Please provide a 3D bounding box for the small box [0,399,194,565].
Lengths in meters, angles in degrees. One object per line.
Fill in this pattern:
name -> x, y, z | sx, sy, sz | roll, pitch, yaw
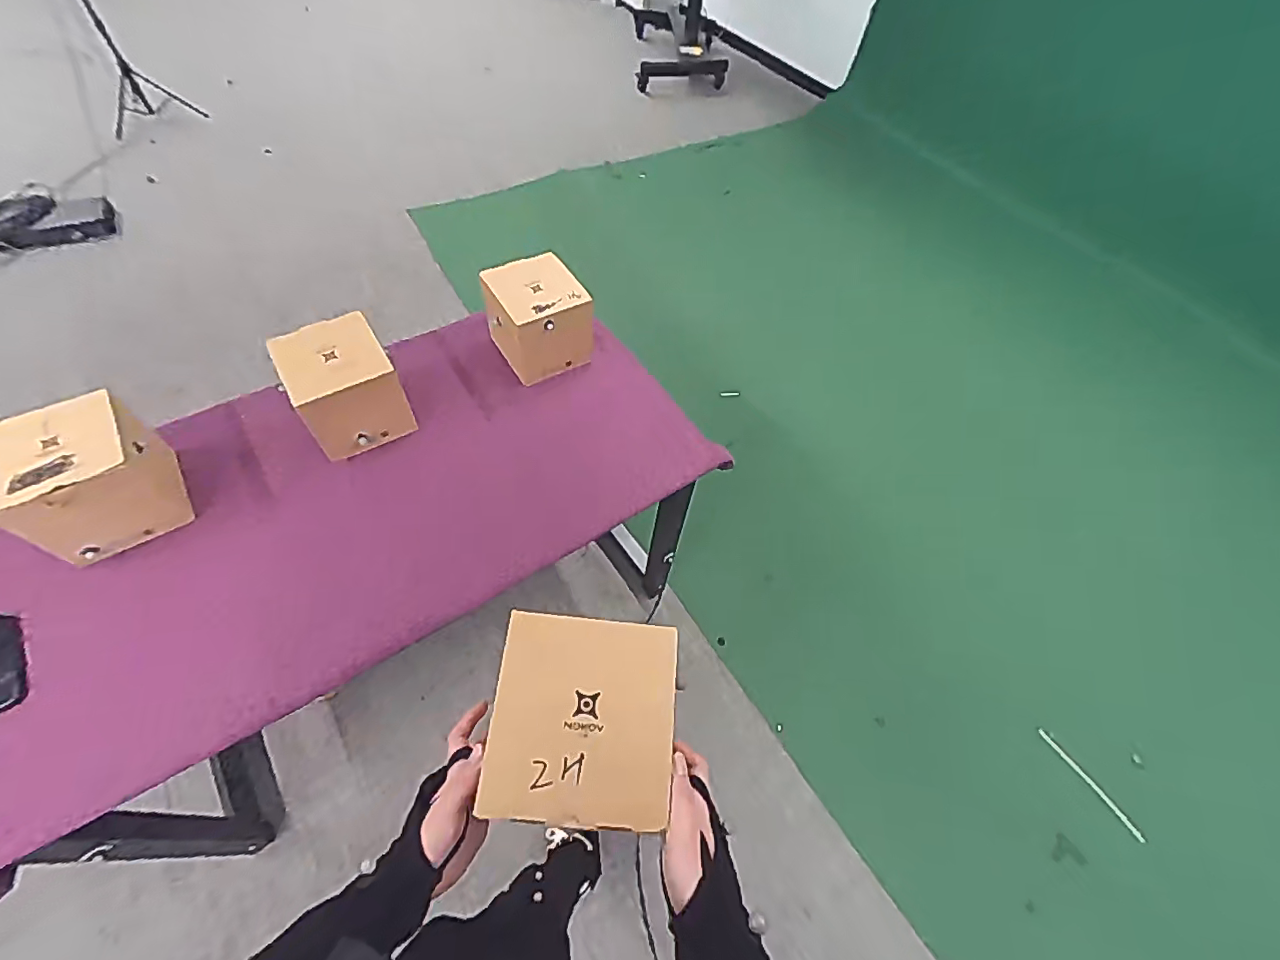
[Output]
small box -> -0.853, 0.013, 0.851 | 0.168, 0.176, 0.179 | -29, 63, -22

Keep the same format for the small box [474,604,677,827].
small box -> -0.058, 0.244, 0.561 | 0.168, 0.176, 0.179 | 6, 62, -1

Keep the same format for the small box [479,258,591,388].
small box -> -0.215, -0.325, 1.132 | 0.168, 0.176, 0.179 | -27, 62, -20

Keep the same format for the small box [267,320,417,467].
small box -> -0.538, -0.156, 0.993 | 0.168, 0.176, 0.179 | -28, 63, -20
